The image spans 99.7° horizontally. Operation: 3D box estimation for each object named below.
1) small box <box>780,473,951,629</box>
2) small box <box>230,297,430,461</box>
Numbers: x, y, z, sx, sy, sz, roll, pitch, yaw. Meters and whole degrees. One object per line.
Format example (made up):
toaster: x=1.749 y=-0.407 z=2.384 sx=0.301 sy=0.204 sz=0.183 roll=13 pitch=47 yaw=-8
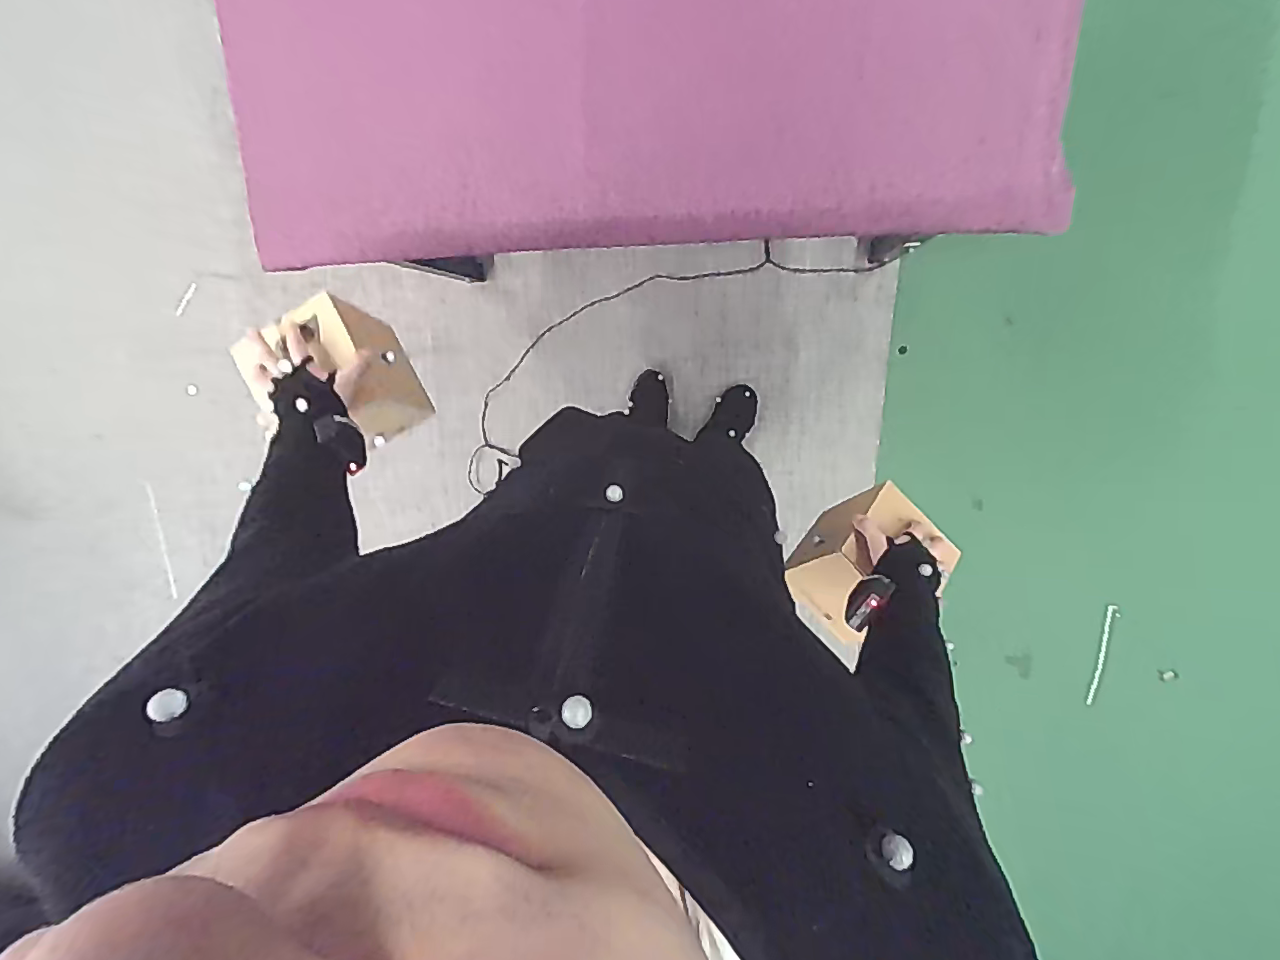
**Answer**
small box: x=0.360 y=0.125 z=0.892 sx=0.168 sy=0.179 sz=0.176 roll=45 pitch=151 yaw=1
small box: x=-0.463 y=-0.141 z=0.833 sx=0.168 sy=0.176 sz=0.179 roll=-30 pitch=87 yaw=4
